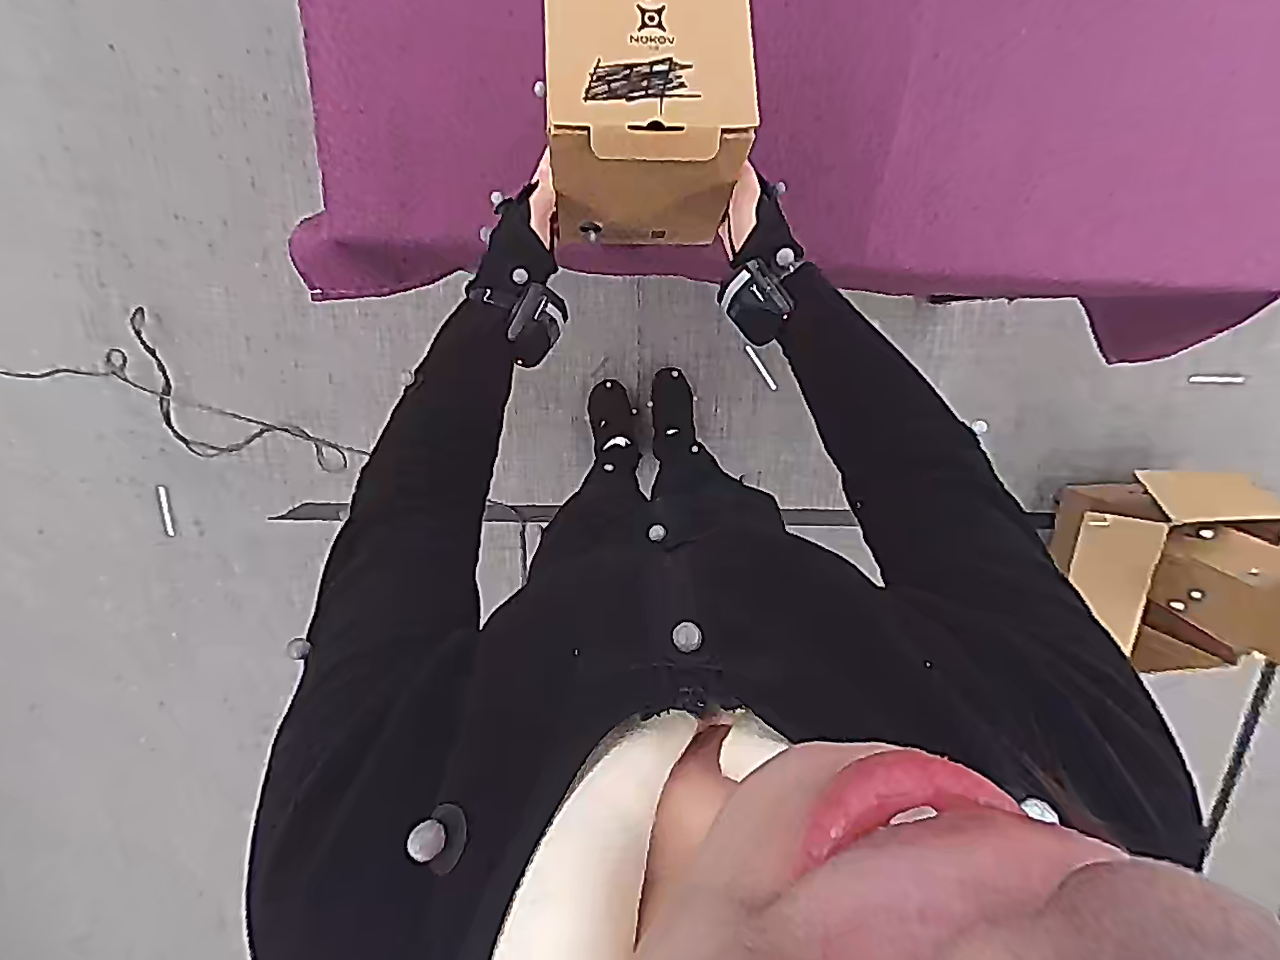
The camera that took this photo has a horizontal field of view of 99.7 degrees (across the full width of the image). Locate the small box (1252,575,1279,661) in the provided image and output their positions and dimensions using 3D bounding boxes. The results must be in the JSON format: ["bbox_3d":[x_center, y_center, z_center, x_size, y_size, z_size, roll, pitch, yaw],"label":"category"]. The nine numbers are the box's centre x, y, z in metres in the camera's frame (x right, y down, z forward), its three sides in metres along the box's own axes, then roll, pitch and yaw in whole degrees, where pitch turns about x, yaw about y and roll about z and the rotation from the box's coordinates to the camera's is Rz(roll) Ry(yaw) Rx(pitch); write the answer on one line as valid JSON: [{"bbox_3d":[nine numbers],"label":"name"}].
[{"bbox_3d":[1.340,0.286,1.023,0.168,0.176,0.179,-5,109,3],"label":"small box"}]

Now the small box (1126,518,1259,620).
[{"bbox_3d":[1.362,0.210,1.344,0.168,0.176,0.179,-19,108,6],"label":"small box"}]

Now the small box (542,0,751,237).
[{"bbox_3d":[-0.001,-0.350,0.507,0.168,0.176,0.179,-2,84,-6],"label":"small box"}]
